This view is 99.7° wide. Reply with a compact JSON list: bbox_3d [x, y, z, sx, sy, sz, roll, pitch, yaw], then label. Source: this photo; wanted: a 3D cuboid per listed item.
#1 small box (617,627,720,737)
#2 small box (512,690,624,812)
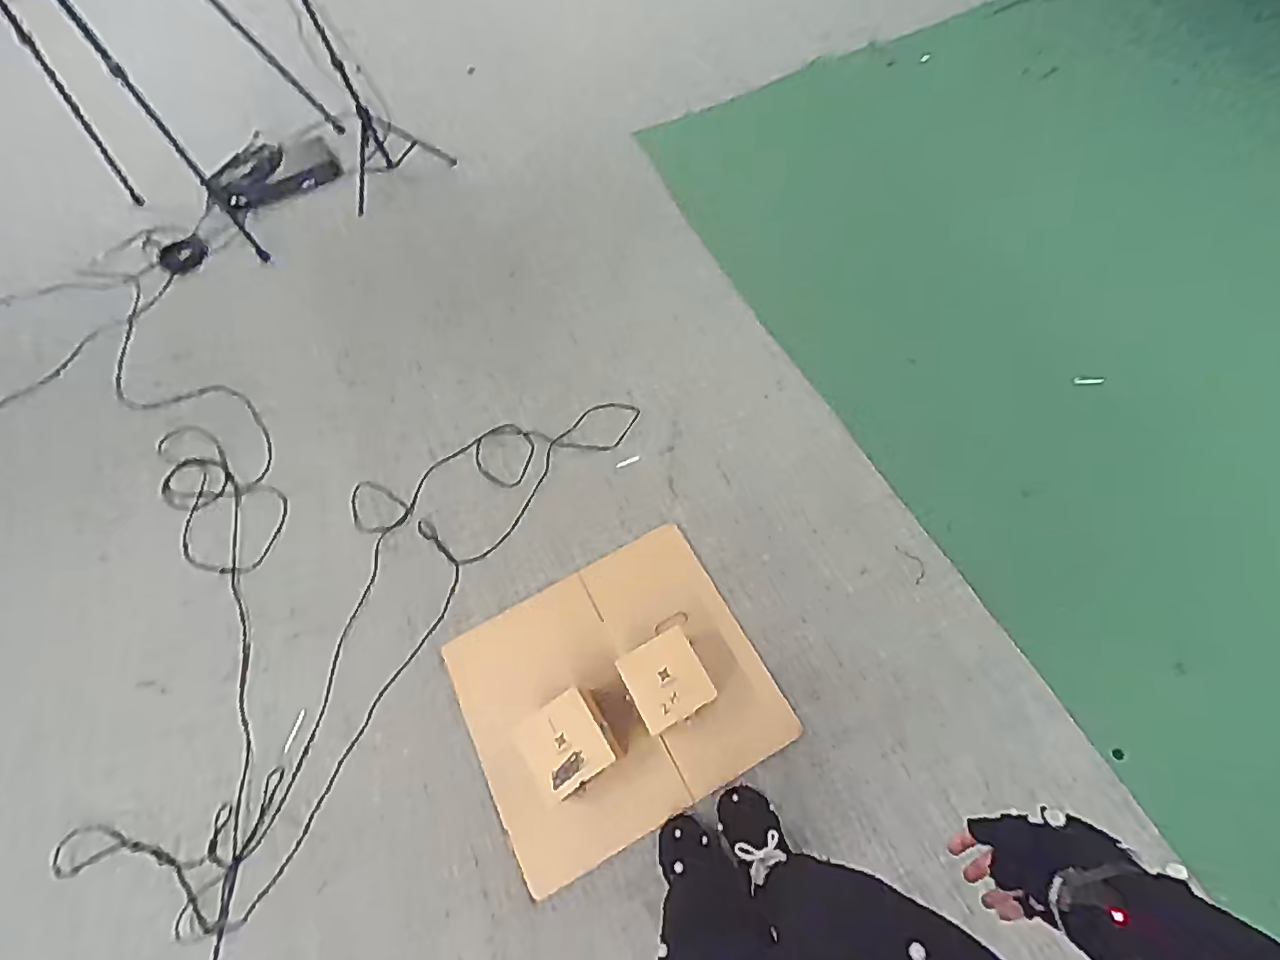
[{"bbox_3d":[0.065,0.465,1.232,0.168,0.176,0.179,-29,66,-7],"label":"small box"},{"bbox_3d":[-0.150,0.589,1.191,0.168,0.176,0.179,-33,65,-9],"label":"small box"}]
